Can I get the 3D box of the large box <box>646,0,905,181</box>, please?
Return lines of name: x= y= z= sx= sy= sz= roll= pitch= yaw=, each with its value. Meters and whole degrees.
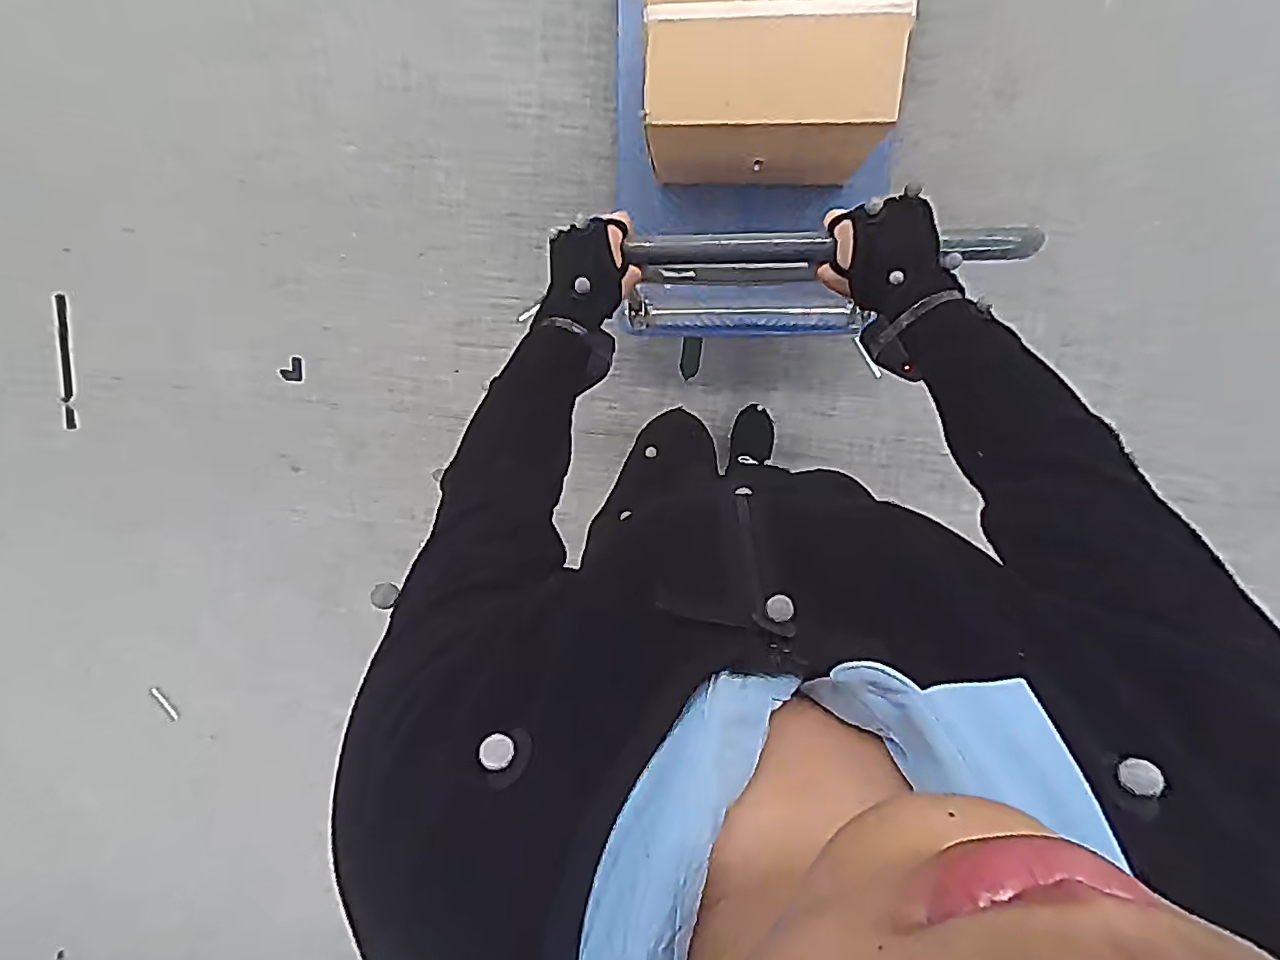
large box: x=0.230 y=-0.766 z=0.997 sx=0.408 sy=0.320 sz=0.320 roll=3 pitch=102 yaw=6
